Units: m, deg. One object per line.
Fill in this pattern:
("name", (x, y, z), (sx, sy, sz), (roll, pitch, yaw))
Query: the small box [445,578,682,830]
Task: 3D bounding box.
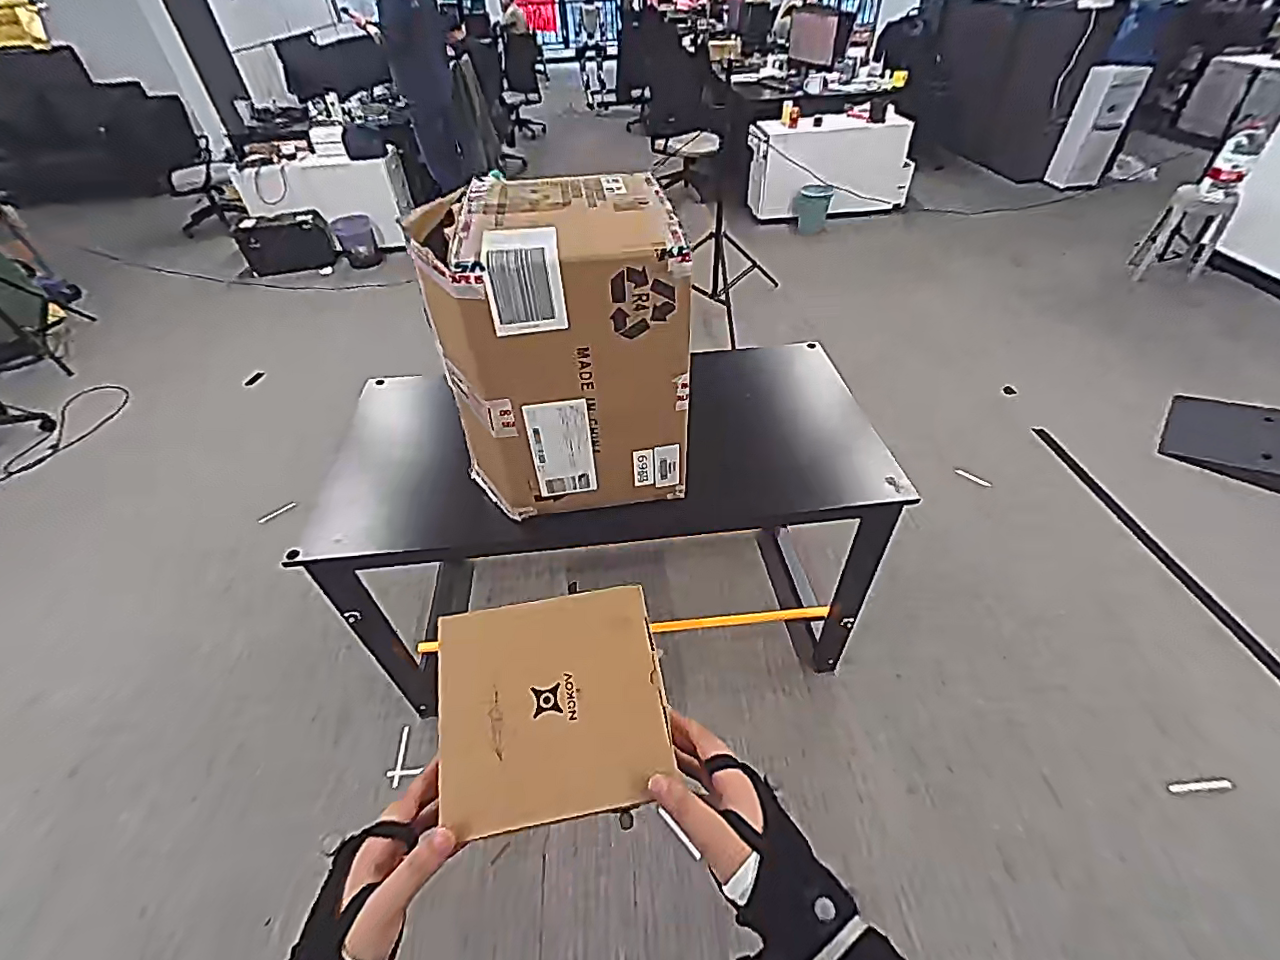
("small box", (-0.070, 0.210, 0.504), (0.179, 0.176, 0.168), (-10, 58, -7))
